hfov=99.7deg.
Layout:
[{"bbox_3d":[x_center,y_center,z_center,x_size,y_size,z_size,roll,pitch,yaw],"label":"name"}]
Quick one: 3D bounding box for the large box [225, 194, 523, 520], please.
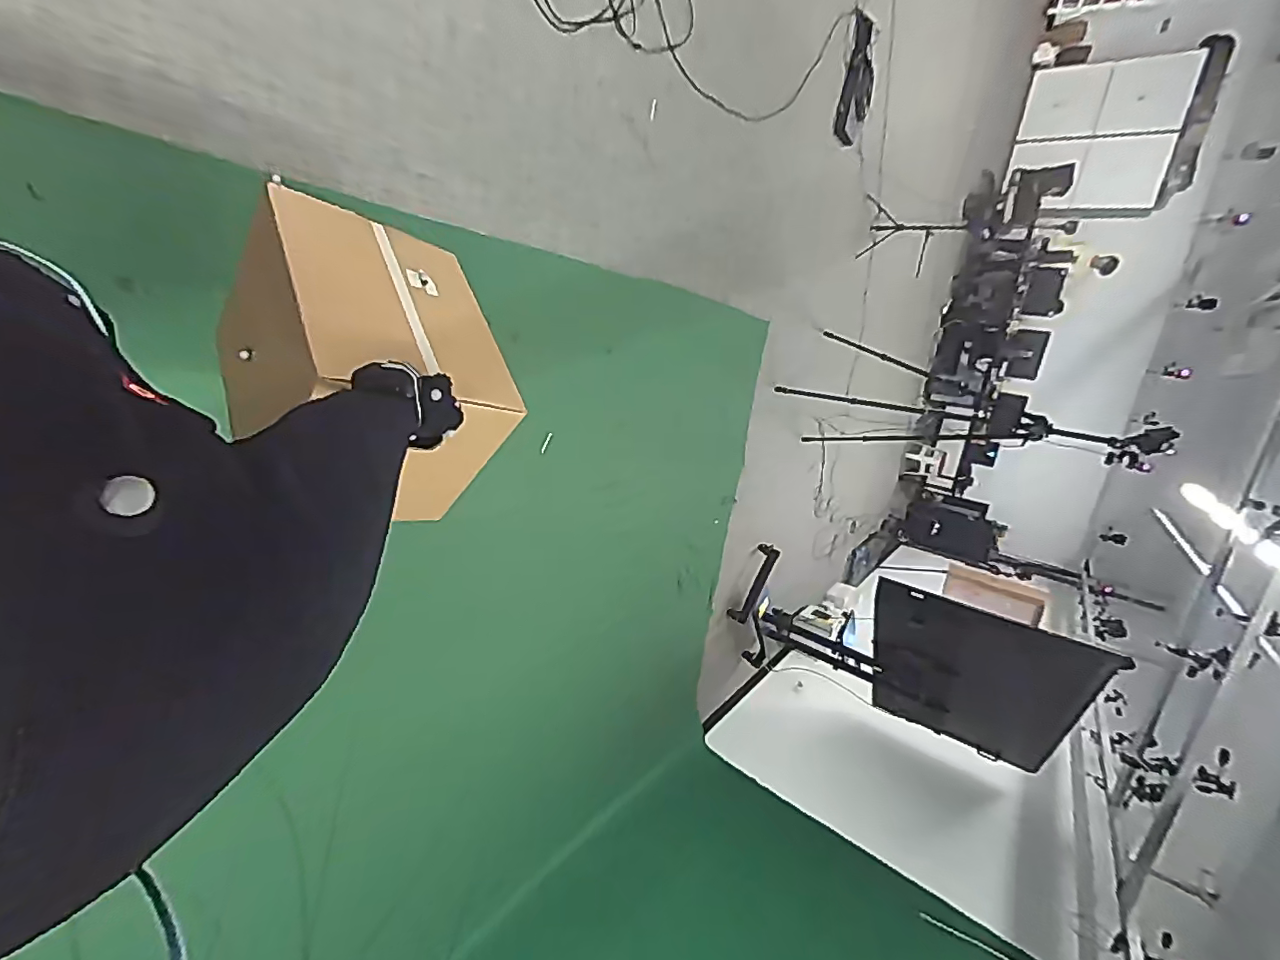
[{"bbox_3d":[-0.468,-0.182,0.926,0.320,0.408,0.320,4,139,-50],"label":"large box"}]
